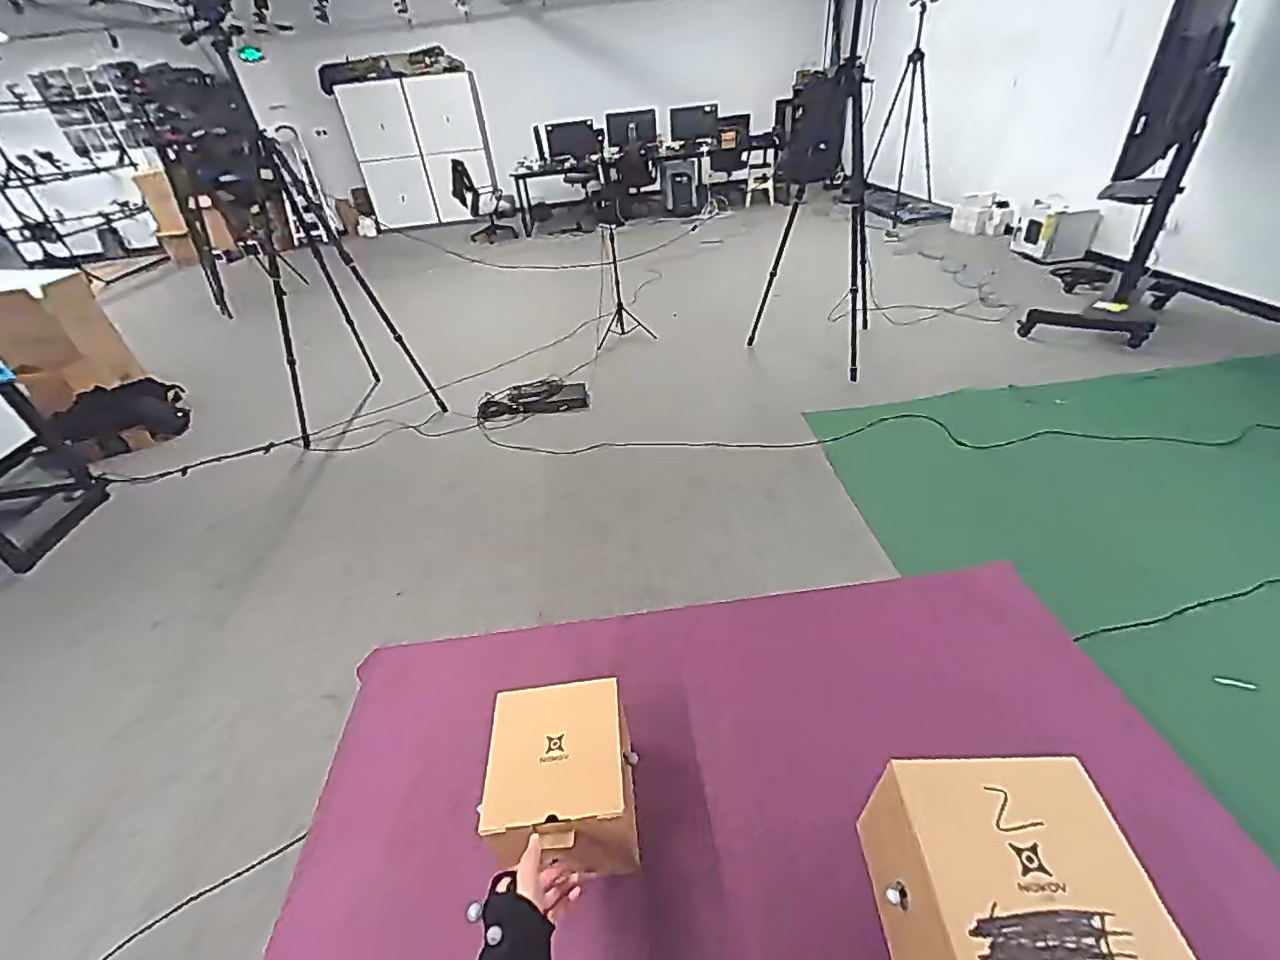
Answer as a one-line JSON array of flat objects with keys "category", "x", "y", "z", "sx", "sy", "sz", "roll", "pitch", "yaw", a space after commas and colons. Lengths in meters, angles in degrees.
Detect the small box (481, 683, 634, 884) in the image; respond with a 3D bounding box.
[{"category": "small box", "x": -0.101, "y": 0.405, "z": 0.728, "sx": 0.168, "sy": 0.176, "sz": 0.179, "roll": -7, "pitch": 36, "yaw": -1}]
